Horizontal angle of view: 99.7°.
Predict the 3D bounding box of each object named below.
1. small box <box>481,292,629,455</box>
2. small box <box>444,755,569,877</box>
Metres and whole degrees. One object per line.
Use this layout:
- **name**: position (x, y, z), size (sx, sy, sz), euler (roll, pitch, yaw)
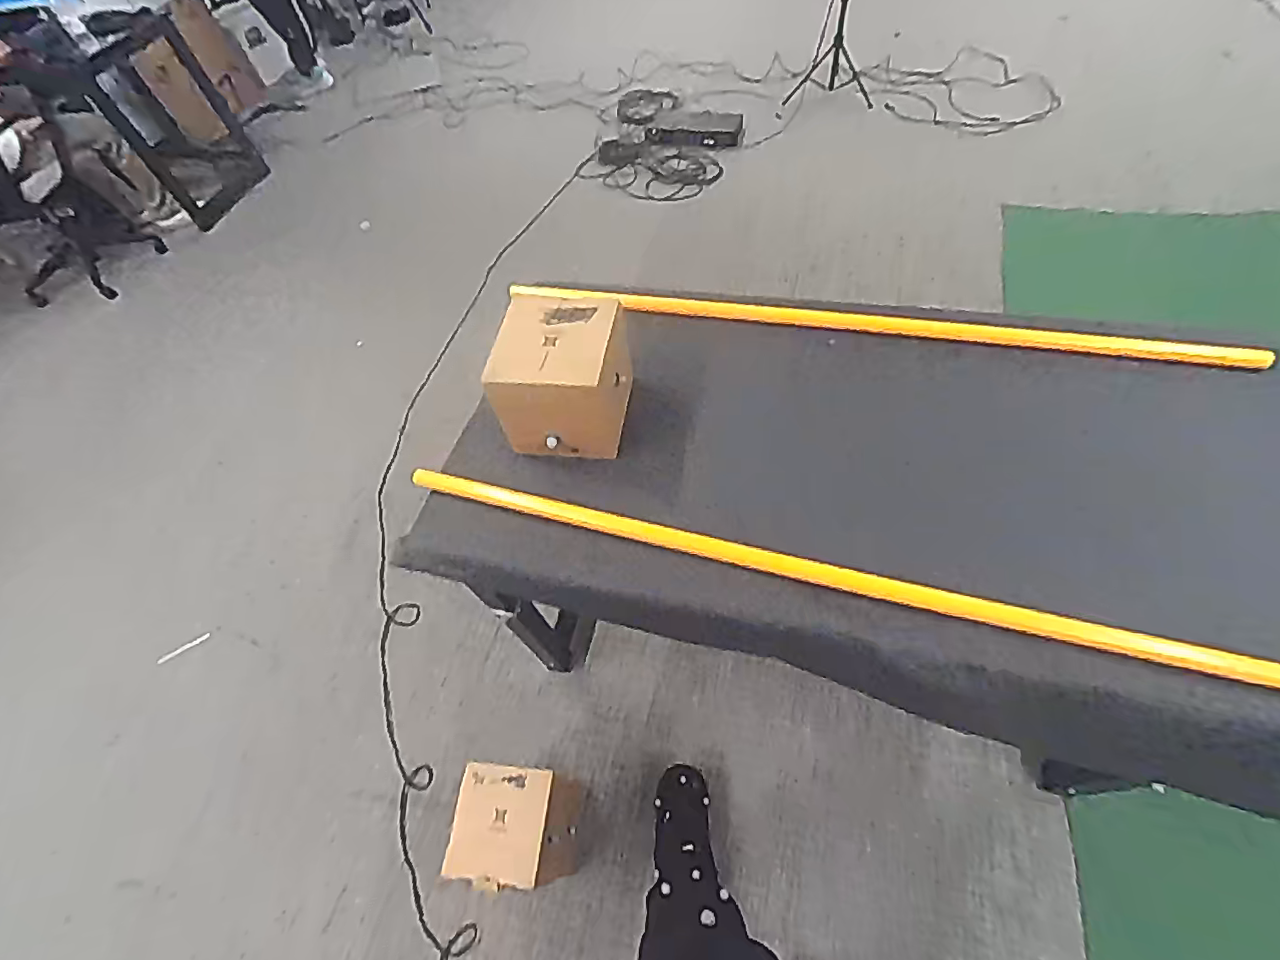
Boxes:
- **small box**: position (-0.114, -0.160, 0.820), size (0.168, 0.176, 0.179), euler (4, 59, 10)
- **small box**: position (-0.237, 0.624, 1.013), size (0.168, 0.176, 0.179), euler (-1, 57, 8)
